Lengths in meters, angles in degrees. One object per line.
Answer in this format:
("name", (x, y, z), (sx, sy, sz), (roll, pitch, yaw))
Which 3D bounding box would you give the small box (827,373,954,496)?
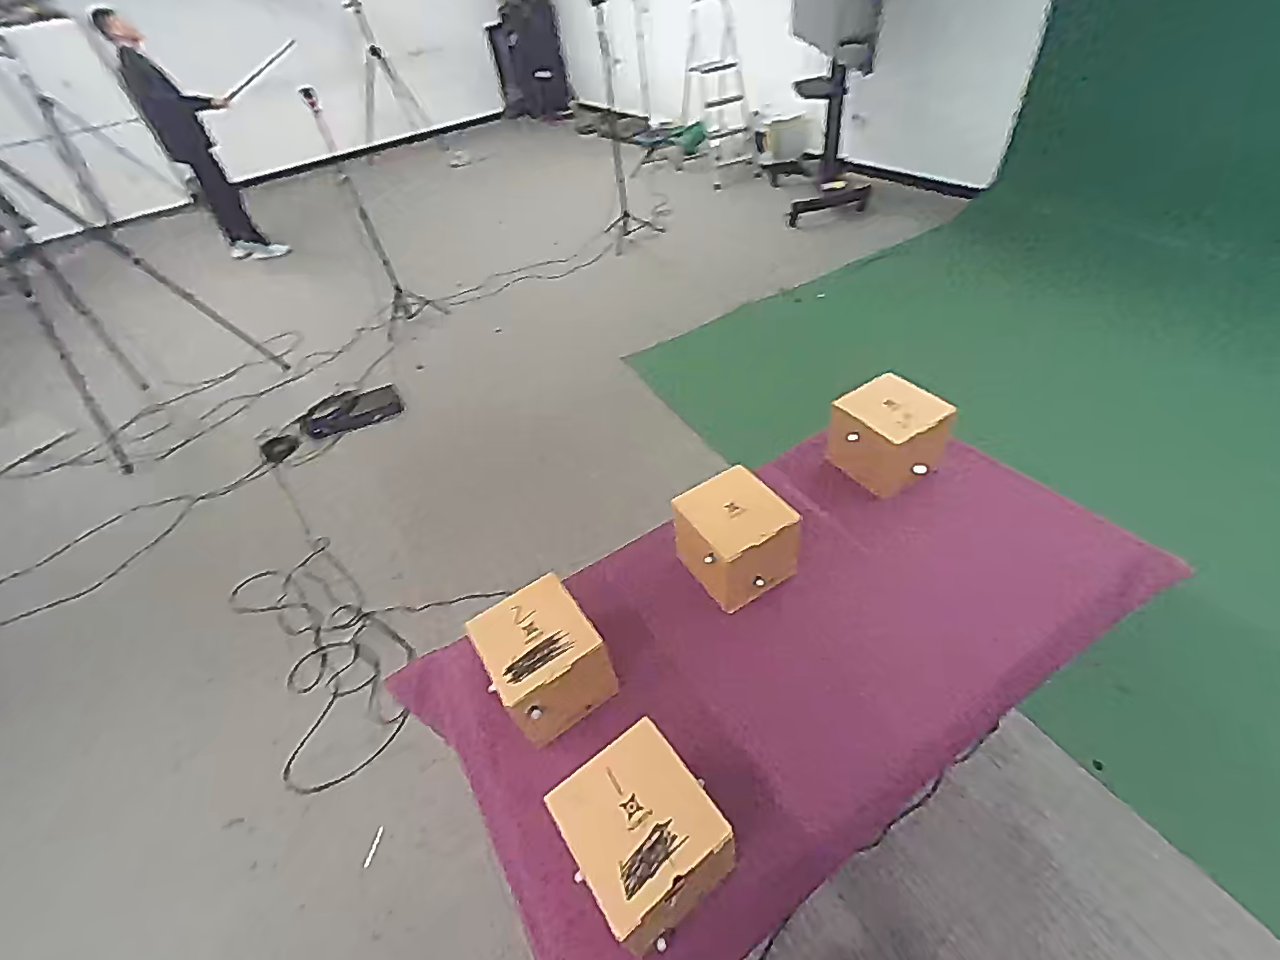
("small box", (0.528, -0.097, 1.169), (0.168, 0.176, 0.179), (-28, 48, -15))

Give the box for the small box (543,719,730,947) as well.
("small box", (0.003, 0.458, 0.702), (0.168, 0.176, 0.179), (-31, 46, -21))

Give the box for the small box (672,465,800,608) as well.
("small box", (0.177, 0.108, 1.031), (0.168, 0.176, 0.179), (-27, 48, -17))
